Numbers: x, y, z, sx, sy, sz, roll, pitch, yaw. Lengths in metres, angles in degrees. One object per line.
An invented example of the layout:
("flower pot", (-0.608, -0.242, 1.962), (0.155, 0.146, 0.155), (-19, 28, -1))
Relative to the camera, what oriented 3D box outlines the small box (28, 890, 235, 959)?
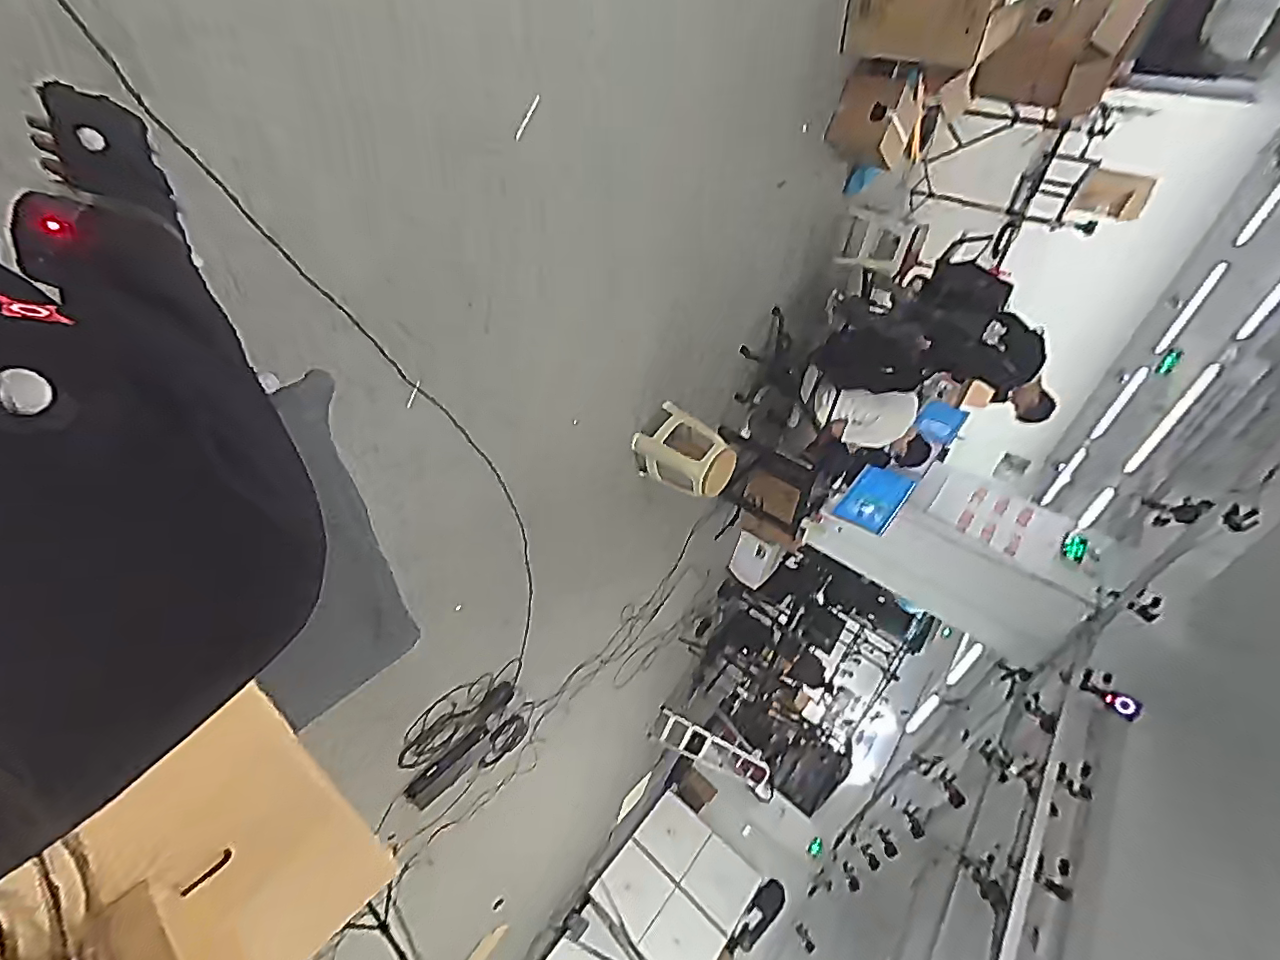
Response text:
("small box", (-0.450, 0.498, 0.455), (0.168, 0.176, 0.179), (-37, 143, -37))
